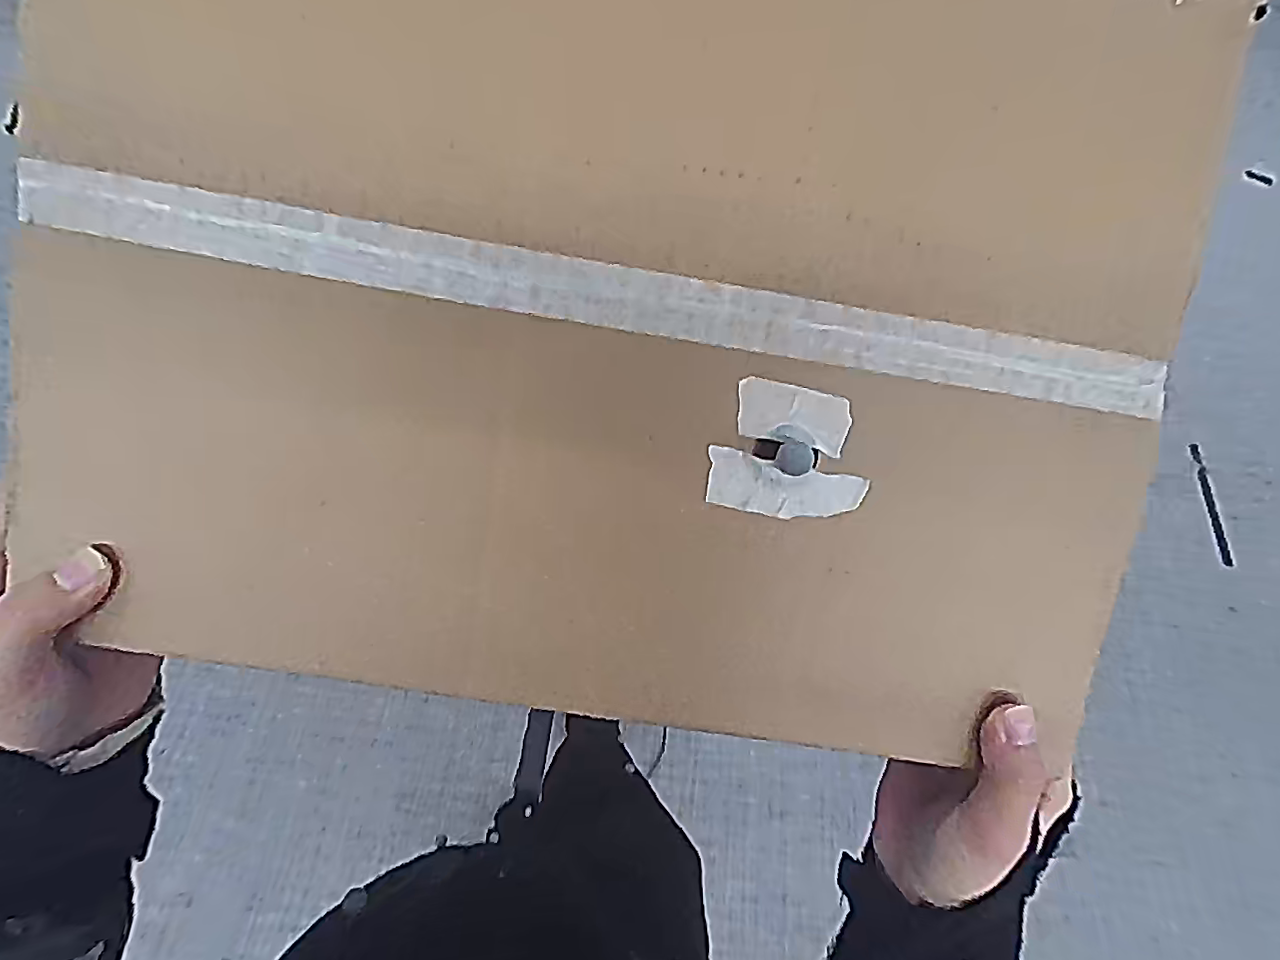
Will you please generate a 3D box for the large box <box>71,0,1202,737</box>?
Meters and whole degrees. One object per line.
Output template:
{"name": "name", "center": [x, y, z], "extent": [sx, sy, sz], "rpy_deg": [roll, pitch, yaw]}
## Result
{"name": "large box", "center": [-0.008, -0.079, 0.356], "extent": [0.408, 0.320, 0.320], "rpy_deg": [9, 96, -4]}
